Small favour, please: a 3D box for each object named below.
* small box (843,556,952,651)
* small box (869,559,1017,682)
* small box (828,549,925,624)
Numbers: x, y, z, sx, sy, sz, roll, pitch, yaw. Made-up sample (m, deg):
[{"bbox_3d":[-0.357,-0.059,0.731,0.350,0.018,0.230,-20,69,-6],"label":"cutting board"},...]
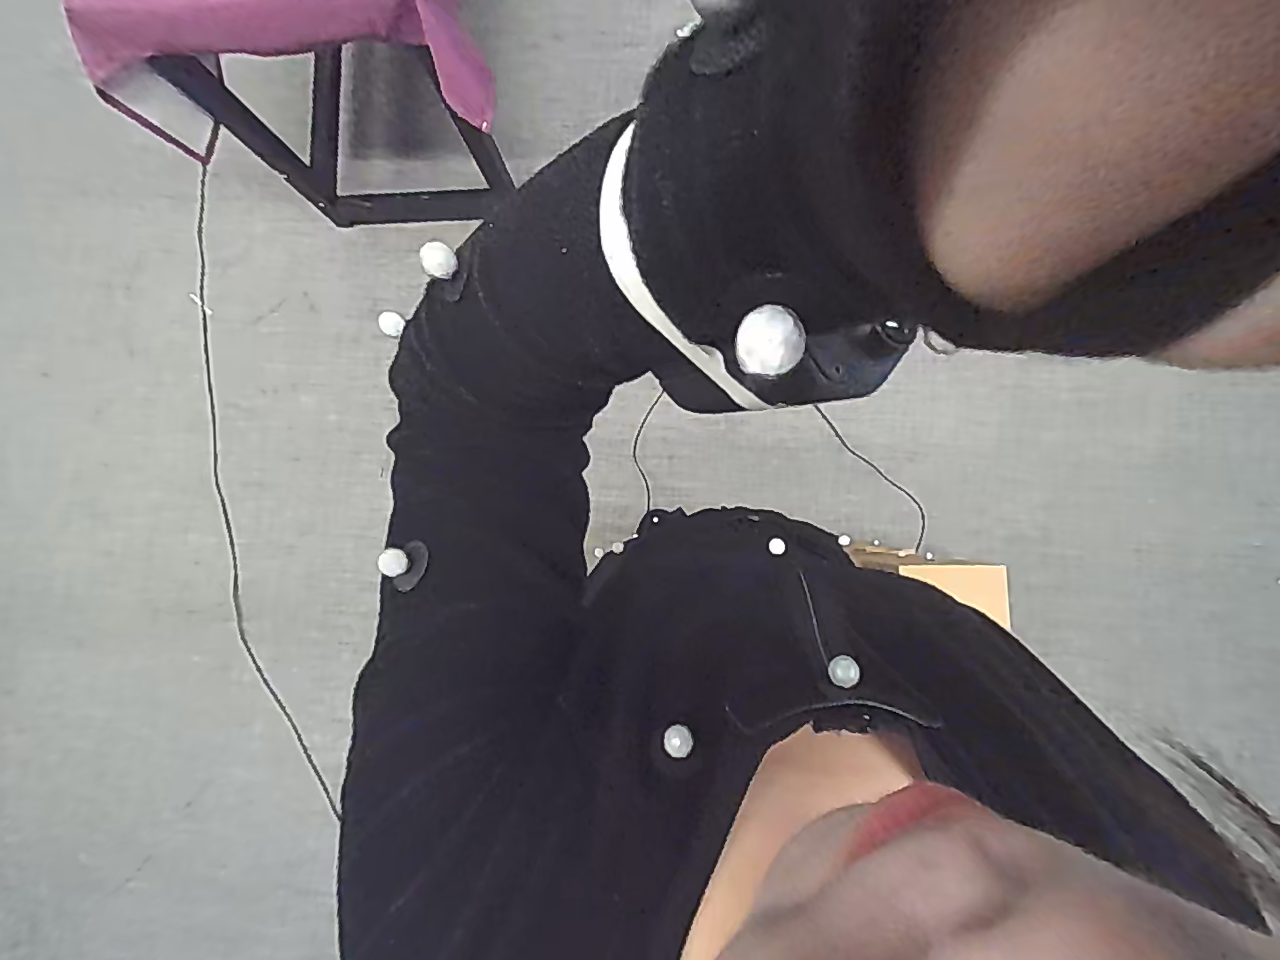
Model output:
[{"bbox_3d":[0.511,0.241,1.074,0.179,0.176,0.168,-1,86,3],"label":"small box"},{"bbox_3d":[0.496,0.226,0.910,0.168,0.176,0.179,0,85,4],"label":"small box"},{"bbox_3d":[0.535,0.247,1.235,0.168,0.176,0.179,-1,86,4],"label":"small box"}]
